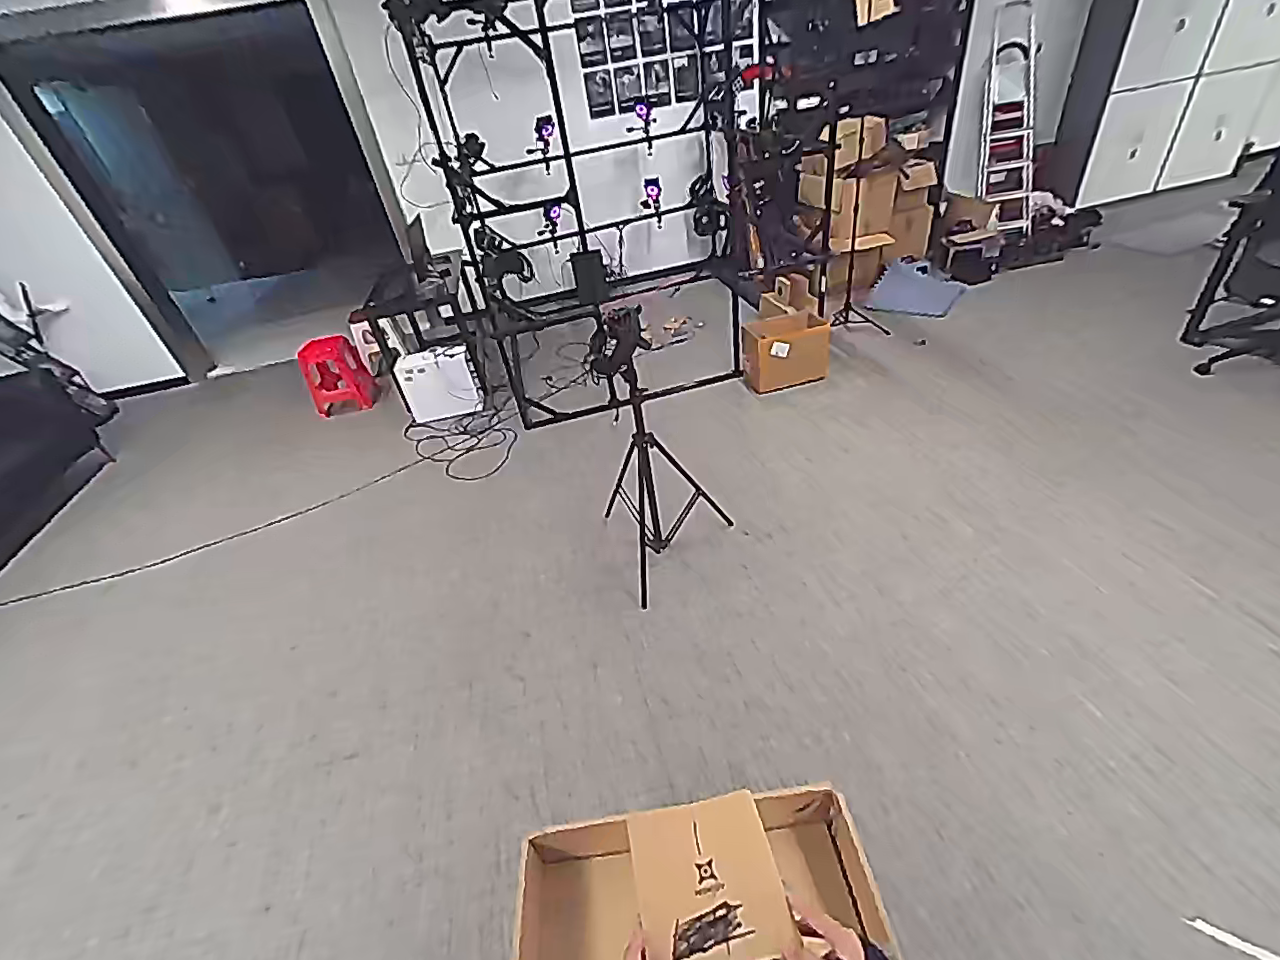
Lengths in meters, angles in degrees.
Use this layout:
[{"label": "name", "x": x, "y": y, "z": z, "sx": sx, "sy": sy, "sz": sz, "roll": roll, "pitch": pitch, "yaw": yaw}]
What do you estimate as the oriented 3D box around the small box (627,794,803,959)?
[{"label": "small box", "x": 0.090, "y": 0.530, "z": 0.658, "sx": 0.168, "sy": 0.176, "sz": 0.179, "roll": -13, "pitch": 31, "yaw": -4}]
